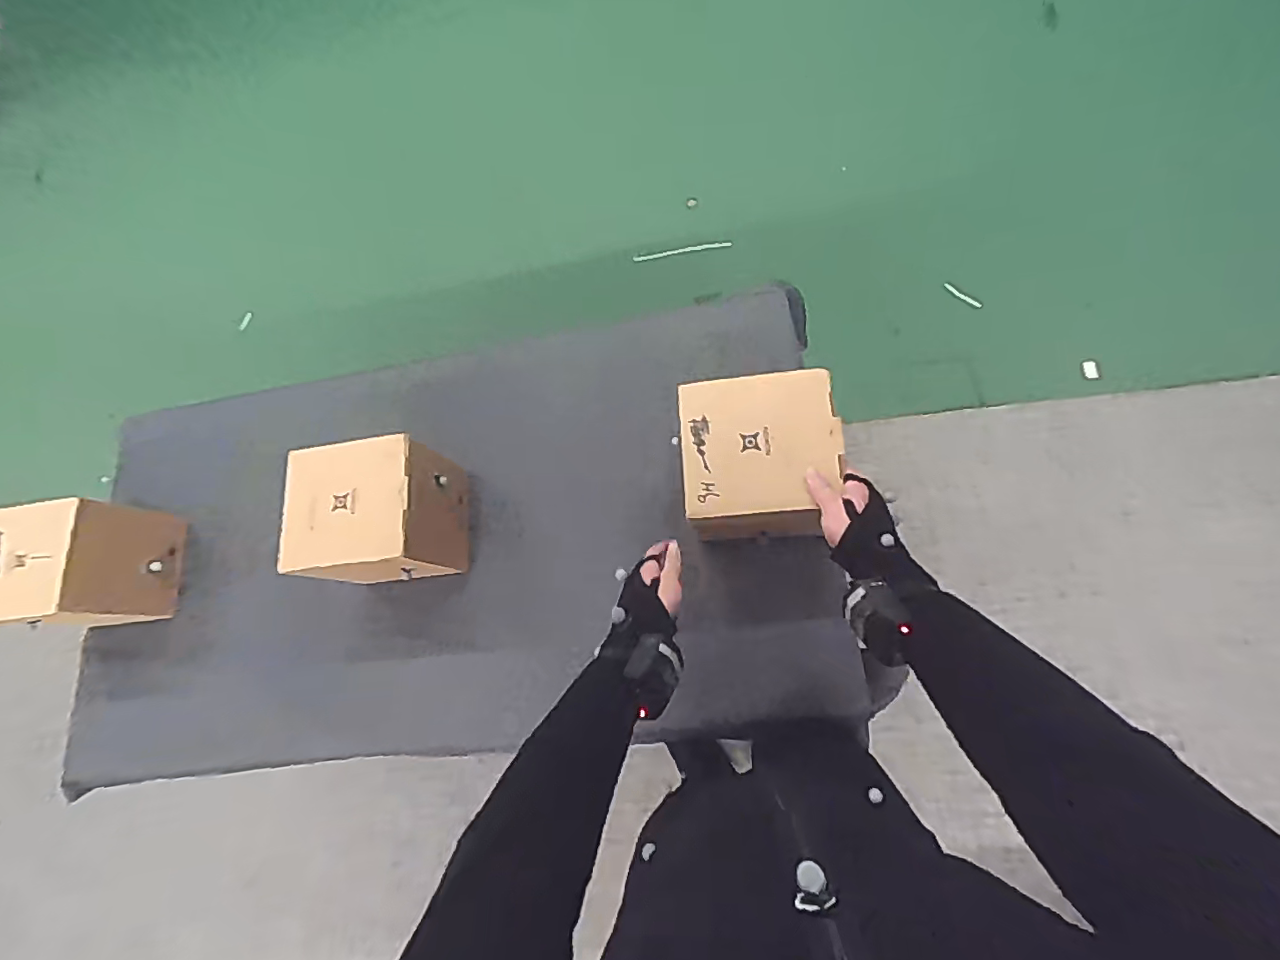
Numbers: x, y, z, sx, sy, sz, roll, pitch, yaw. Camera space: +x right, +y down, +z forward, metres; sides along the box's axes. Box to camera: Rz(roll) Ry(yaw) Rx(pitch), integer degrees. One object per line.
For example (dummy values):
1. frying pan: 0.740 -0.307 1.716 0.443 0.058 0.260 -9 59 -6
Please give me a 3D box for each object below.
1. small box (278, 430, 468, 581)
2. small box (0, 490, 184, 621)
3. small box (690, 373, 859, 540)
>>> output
1. small box: -0.354 0.045 0.752 0.179 0.176 0.168 -8 73 9
2. small box: -0.849 0.121 0.812 0.179 0.176 0.168 -7 74 7
3. small box: 0.157 -0.019 0.678 0.179 0.176 0.168 -4 74 9
